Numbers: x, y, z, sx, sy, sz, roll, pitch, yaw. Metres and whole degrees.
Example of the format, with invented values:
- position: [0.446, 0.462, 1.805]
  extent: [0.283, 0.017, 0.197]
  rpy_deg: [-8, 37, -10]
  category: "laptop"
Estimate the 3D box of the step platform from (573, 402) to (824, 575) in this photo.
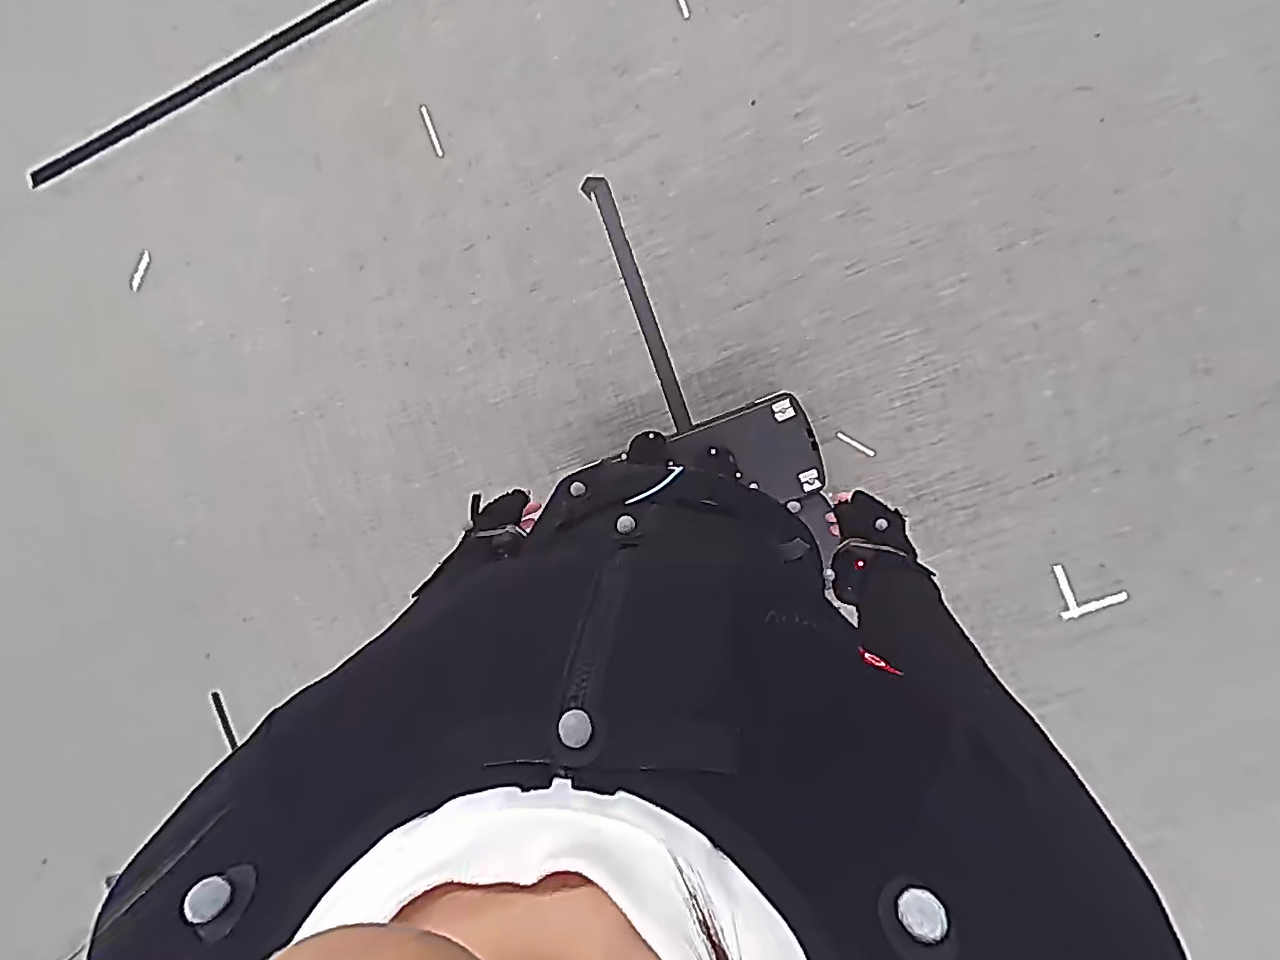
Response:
- position: [0.156, 0.026, 1.530]
  extent: [0.684, 0.204, 0.286]
  rpy_deg: [-21, 93, 7]
  category: "step platform"
